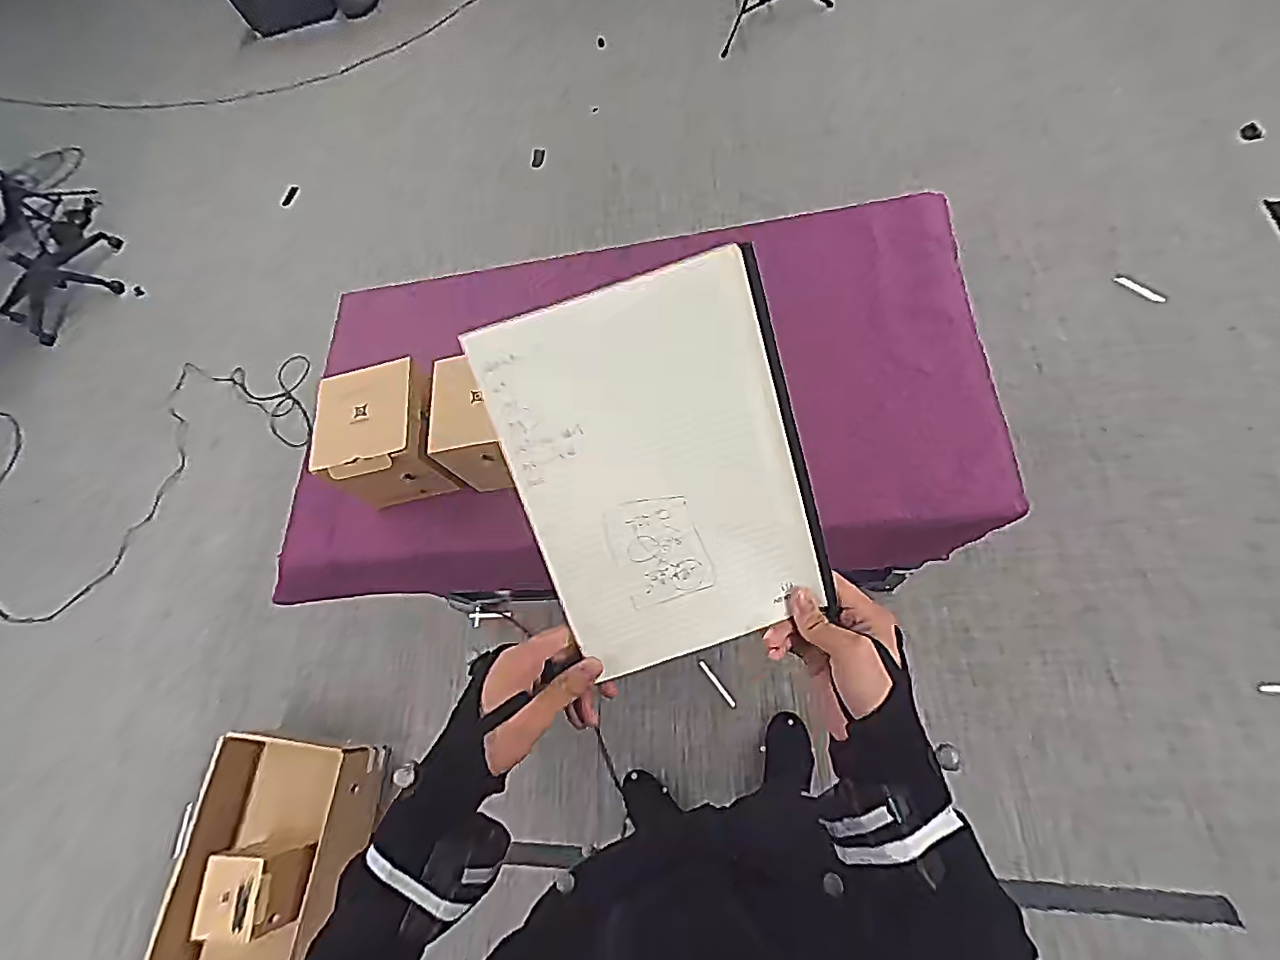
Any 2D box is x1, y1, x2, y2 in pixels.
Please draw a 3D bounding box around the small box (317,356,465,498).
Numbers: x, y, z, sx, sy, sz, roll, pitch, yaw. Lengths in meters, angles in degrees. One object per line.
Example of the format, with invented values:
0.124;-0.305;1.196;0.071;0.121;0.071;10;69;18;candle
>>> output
-0.413;-0.079;0.926;0.168;0.176;0.179;-11;66;8;small box
